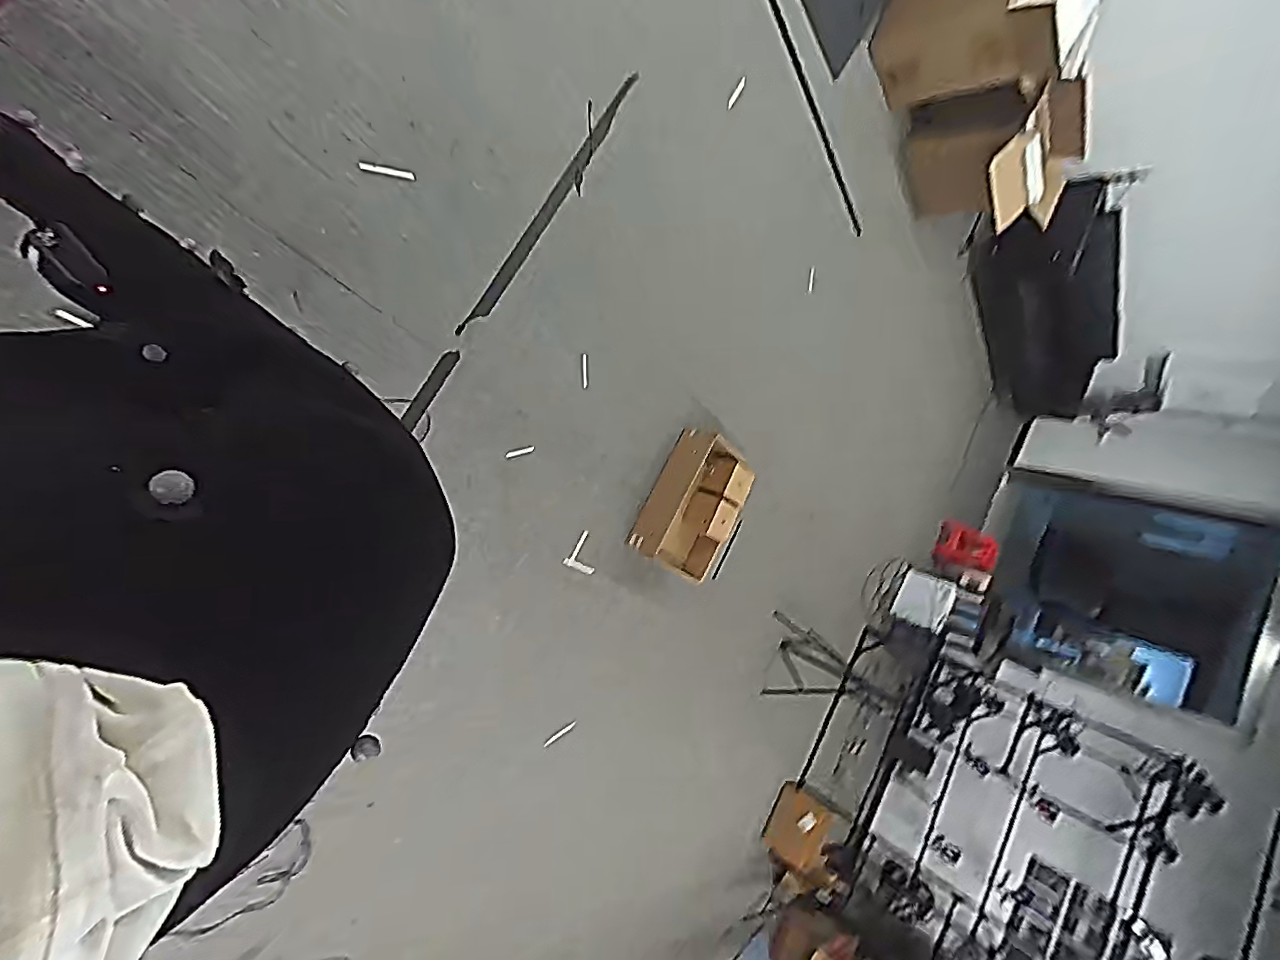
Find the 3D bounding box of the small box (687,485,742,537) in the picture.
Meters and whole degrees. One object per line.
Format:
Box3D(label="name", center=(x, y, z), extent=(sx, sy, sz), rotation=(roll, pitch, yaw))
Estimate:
Box3D(label="small box", center=(0.345, 0.144, 2.551), extent=(0.168, 0.176, 0.179), rotation=(28, 84, -45))
